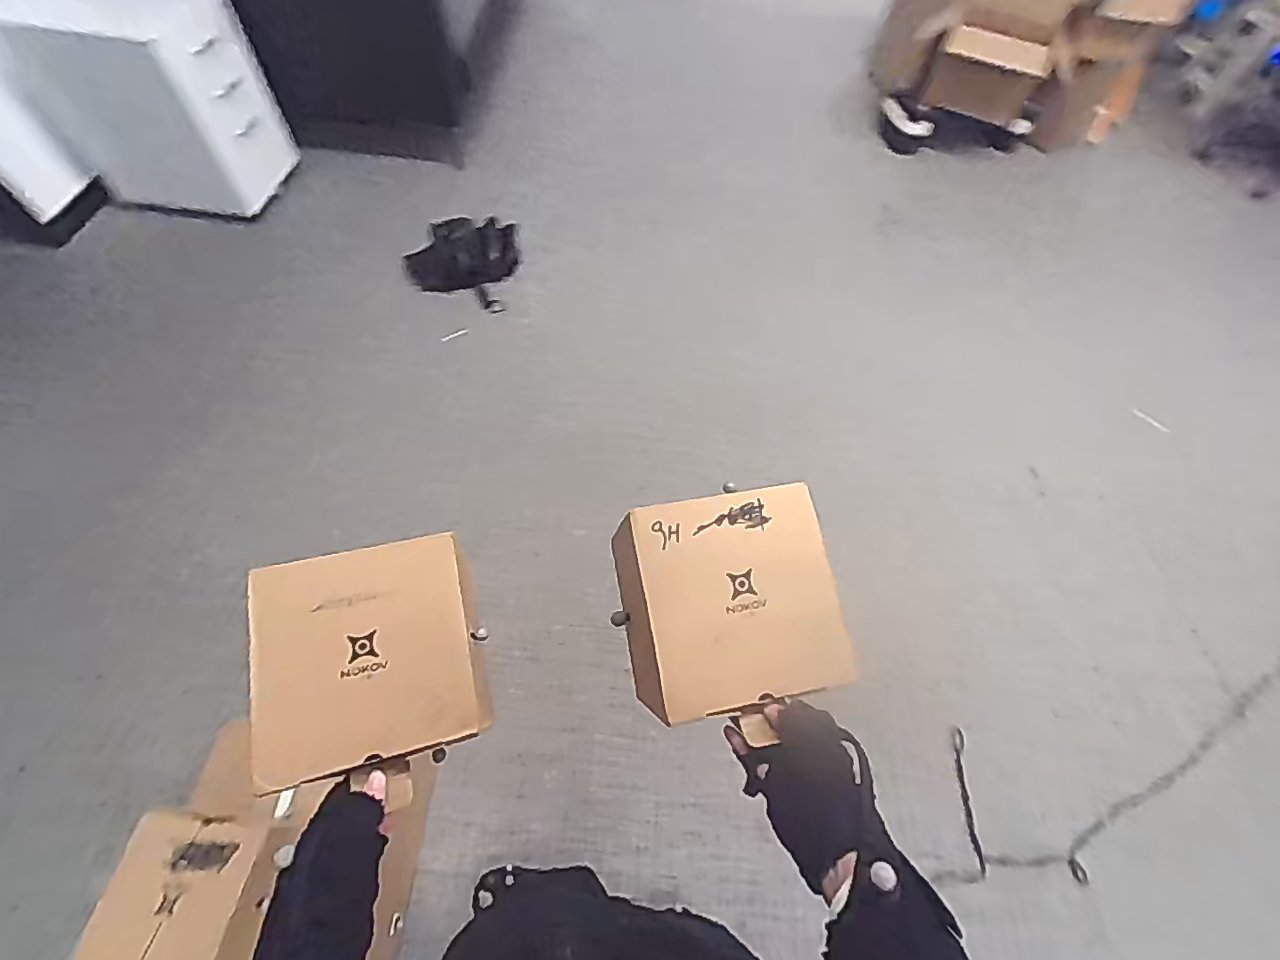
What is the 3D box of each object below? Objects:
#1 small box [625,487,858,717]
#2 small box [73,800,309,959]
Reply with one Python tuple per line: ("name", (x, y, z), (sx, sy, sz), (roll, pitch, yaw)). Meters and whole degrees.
("small box", (0.083, 0.114, 0.535), (0.168, 0.176, 0.179), (-6, 78, -10))
("small box", (-0.610, 0.572, 0.771), (0.168, 0.176, 0.179), (13, 59, -2))
